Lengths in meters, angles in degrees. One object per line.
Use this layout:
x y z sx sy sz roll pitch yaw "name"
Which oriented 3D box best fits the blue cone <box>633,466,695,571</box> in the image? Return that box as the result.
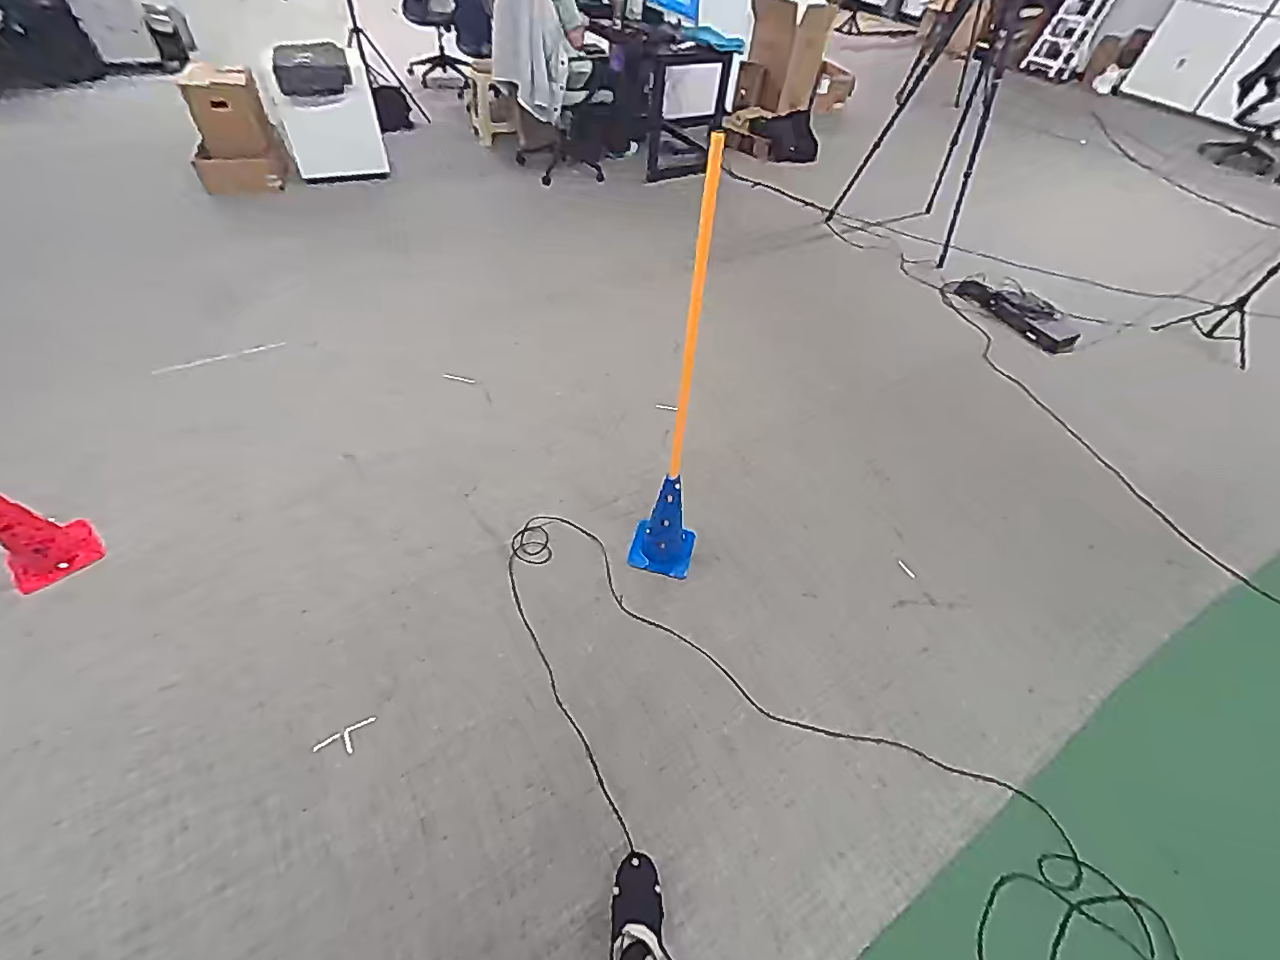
0.093 0.097 1.672 0.192 0.380 0.193 13 47 6 "blue cone"
